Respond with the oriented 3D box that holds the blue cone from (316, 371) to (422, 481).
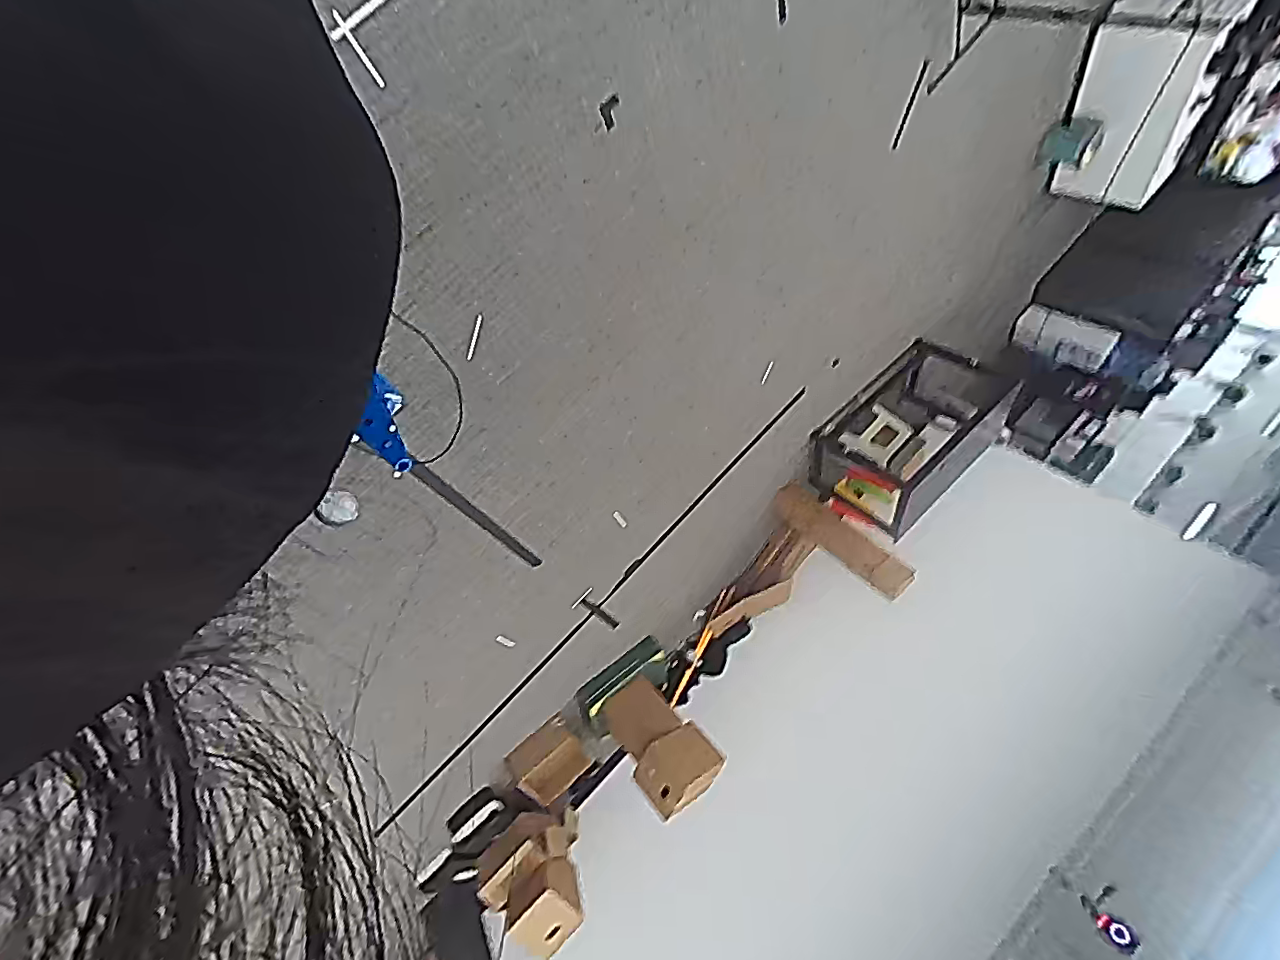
[{"bbox_3d":[-0.665,-0.111,1.403,0.193,0.380,0.192,-44,144,-11],"label":"blue cone"}]
